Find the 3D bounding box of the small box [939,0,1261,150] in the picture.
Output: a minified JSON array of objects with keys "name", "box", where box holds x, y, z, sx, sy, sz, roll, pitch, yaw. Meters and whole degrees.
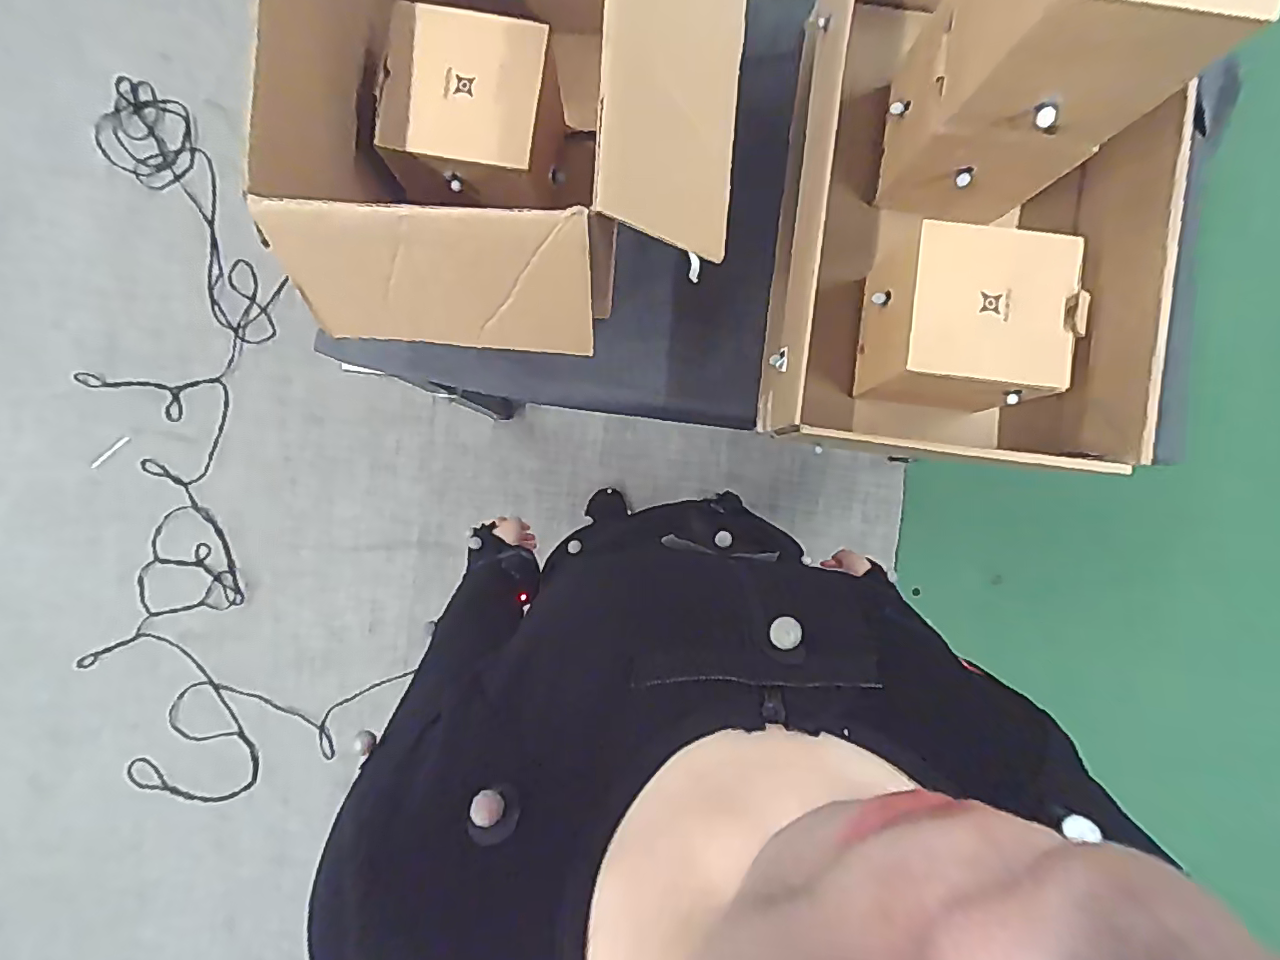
[{"name":"small box","box":[0.405,-0.446,0.494,0.168,0.176,0.179,8,93,-1]}]
